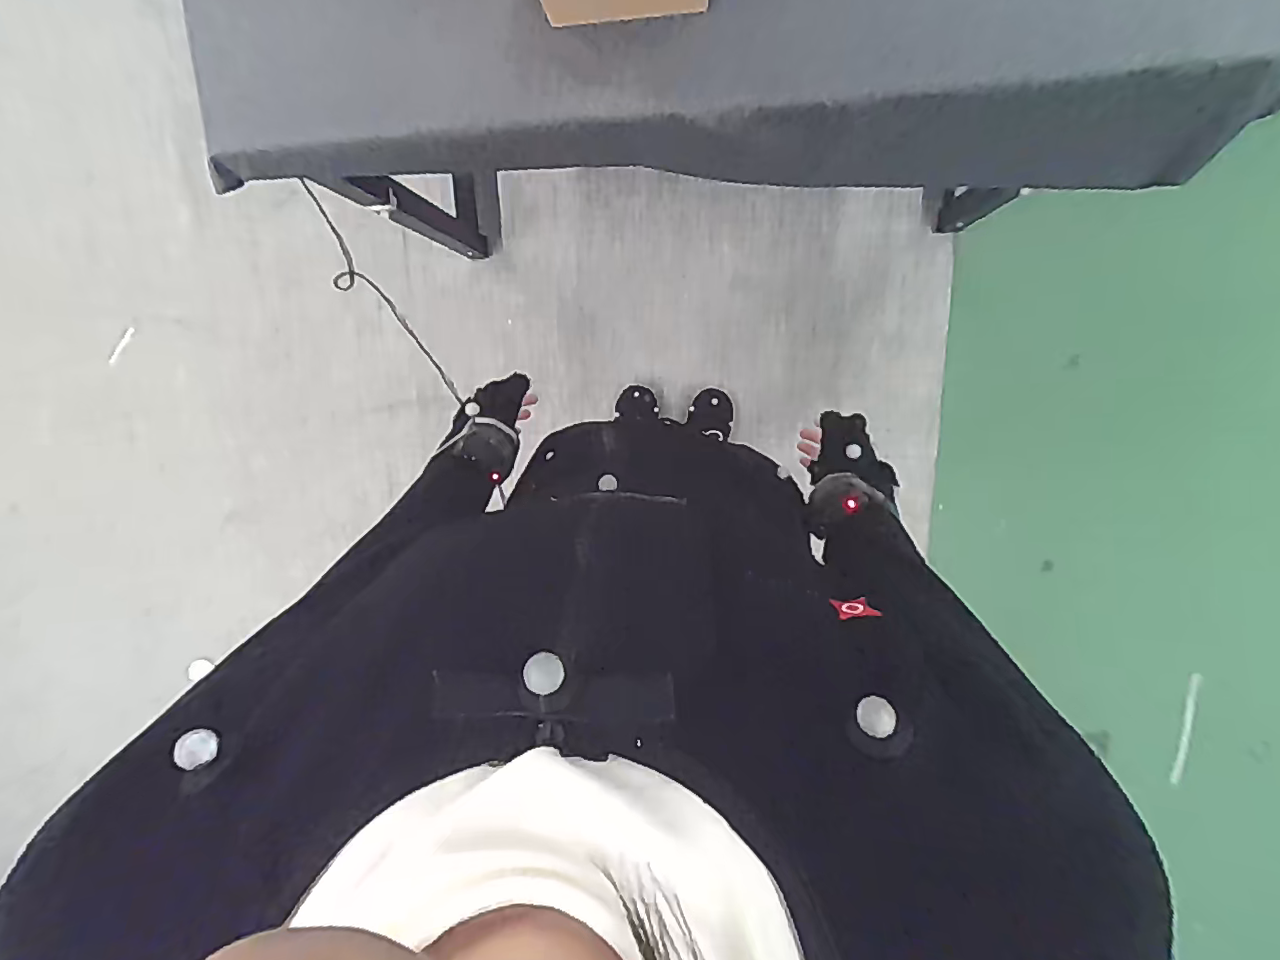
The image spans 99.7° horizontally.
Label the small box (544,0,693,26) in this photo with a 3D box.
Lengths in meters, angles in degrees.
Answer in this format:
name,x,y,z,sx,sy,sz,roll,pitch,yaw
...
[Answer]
name,x,y,z,sx,sy,sz,roll,pitch,yaw
small box,-0.023,-0.574,0.507,0.179,0.176,0.168,0,100,8
